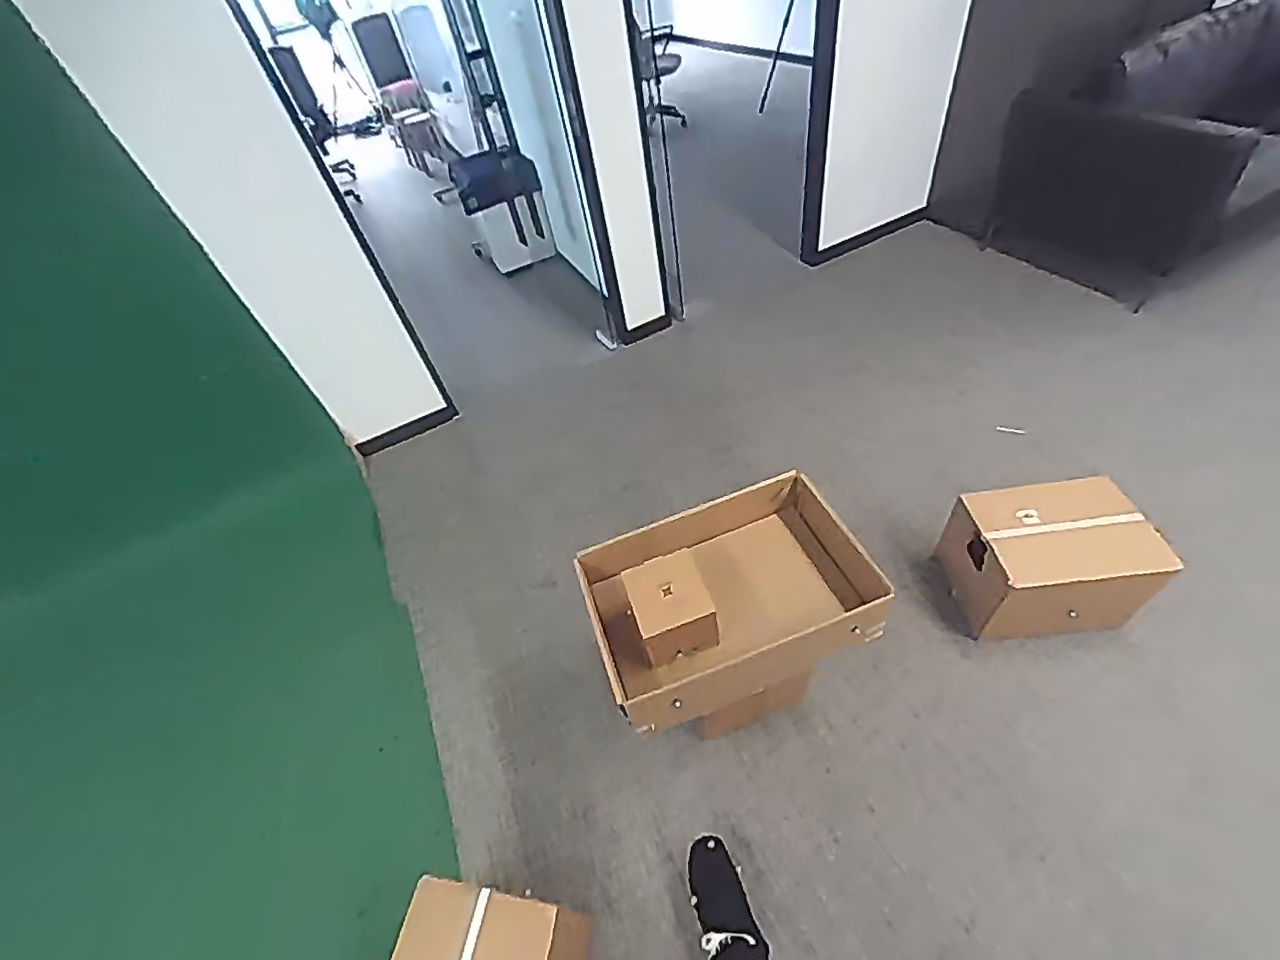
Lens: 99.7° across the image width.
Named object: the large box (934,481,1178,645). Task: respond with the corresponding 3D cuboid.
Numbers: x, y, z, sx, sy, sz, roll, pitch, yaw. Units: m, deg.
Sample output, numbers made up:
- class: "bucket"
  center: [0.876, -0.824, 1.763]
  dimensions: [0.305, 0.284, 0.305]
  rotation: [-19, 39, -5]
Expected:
- class: "large box"
  center: [1.133, 0.242, 1.536]
  dimensions: [0.408, 0.320, 0.320]
  rotation: [-8, 47, 5]
